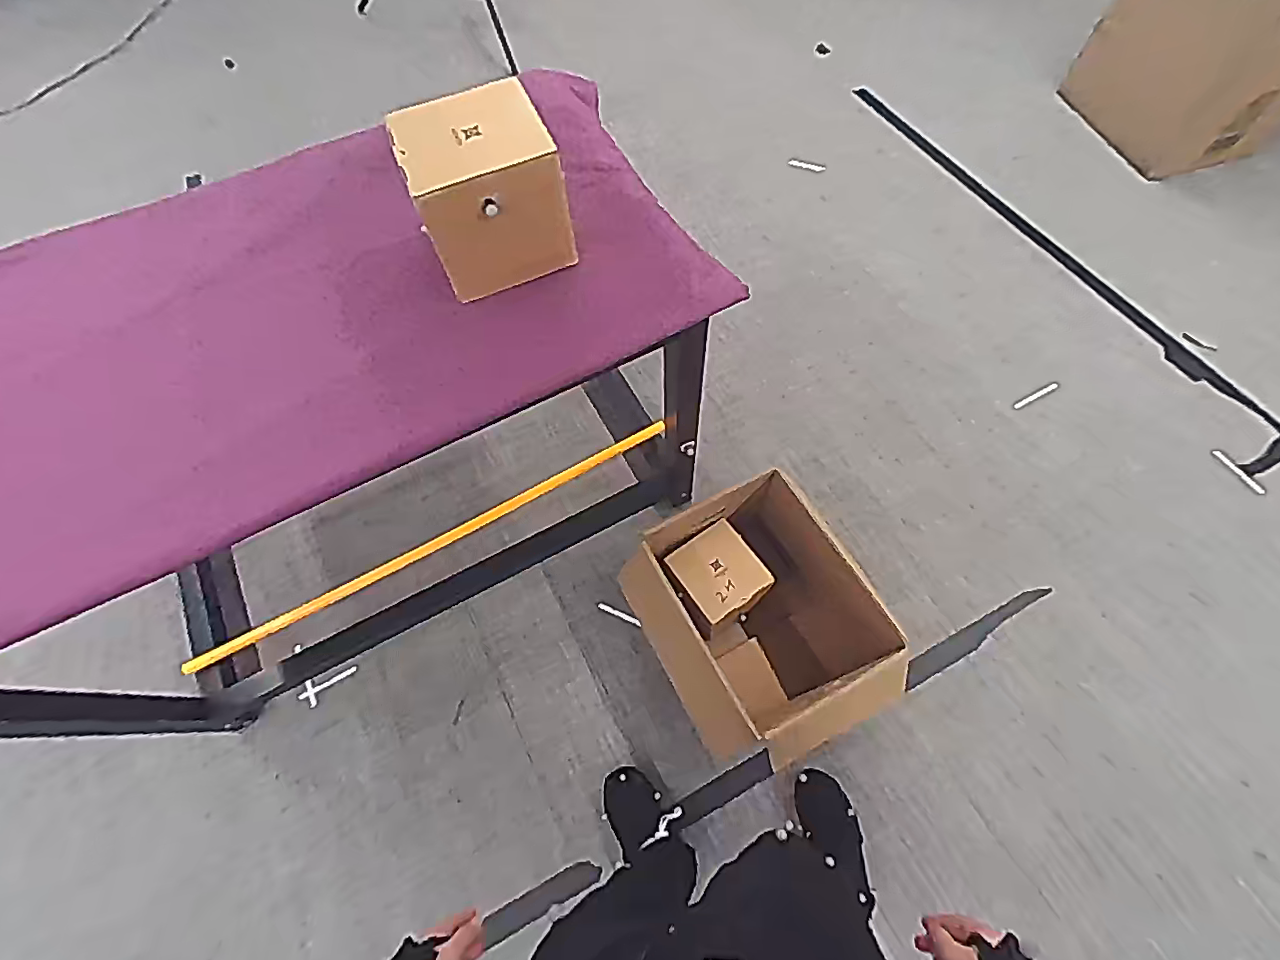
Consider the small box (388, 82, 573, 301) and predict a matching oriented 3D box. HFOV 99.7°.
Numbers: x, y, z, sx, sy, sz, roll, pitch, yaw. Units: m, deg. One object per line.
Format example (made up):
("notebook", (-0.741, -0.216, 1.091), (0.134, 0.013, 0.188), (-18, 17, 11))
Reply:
("small box", (-0.198, -0.374, 0.718), (0.179, 0.176, 0.168), (-22, 66, -7))
